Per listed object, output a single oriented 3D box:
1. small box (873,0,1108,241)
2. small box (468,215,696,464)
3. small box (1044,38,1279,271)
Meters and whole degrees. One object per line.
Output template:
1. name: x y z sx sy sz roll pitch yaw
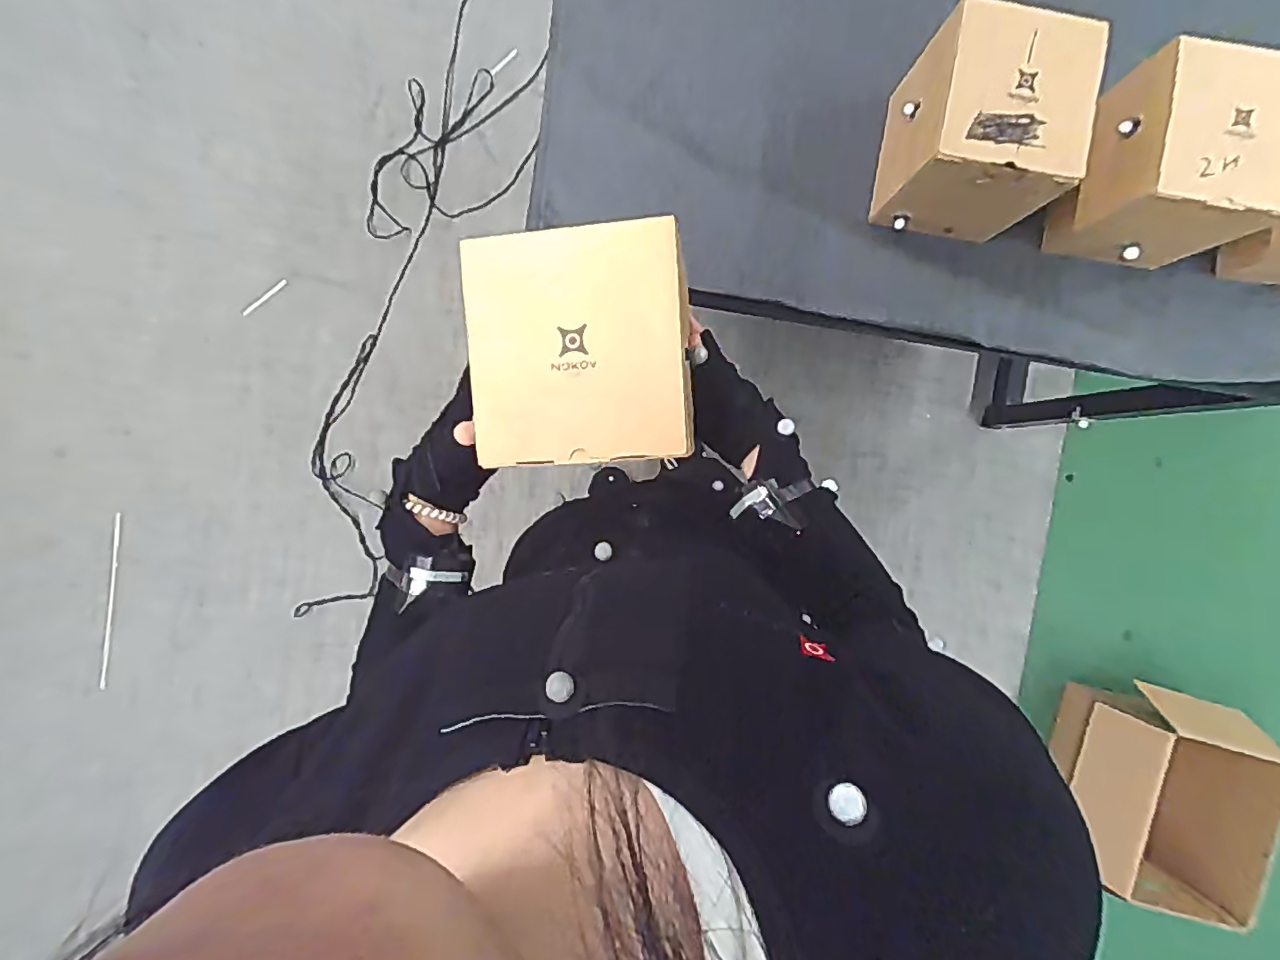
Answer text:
1. small box: 0.410 -0.421 0.664 0.168 0.176 0.179 10 91 -2
2. small box: -0.037 -0.109 0.483 0.168 0.176 0.179 -3 96 6
3. small box: 0.650 -0.386 0.672 0.168 0.176 0.179 8 92 -2
